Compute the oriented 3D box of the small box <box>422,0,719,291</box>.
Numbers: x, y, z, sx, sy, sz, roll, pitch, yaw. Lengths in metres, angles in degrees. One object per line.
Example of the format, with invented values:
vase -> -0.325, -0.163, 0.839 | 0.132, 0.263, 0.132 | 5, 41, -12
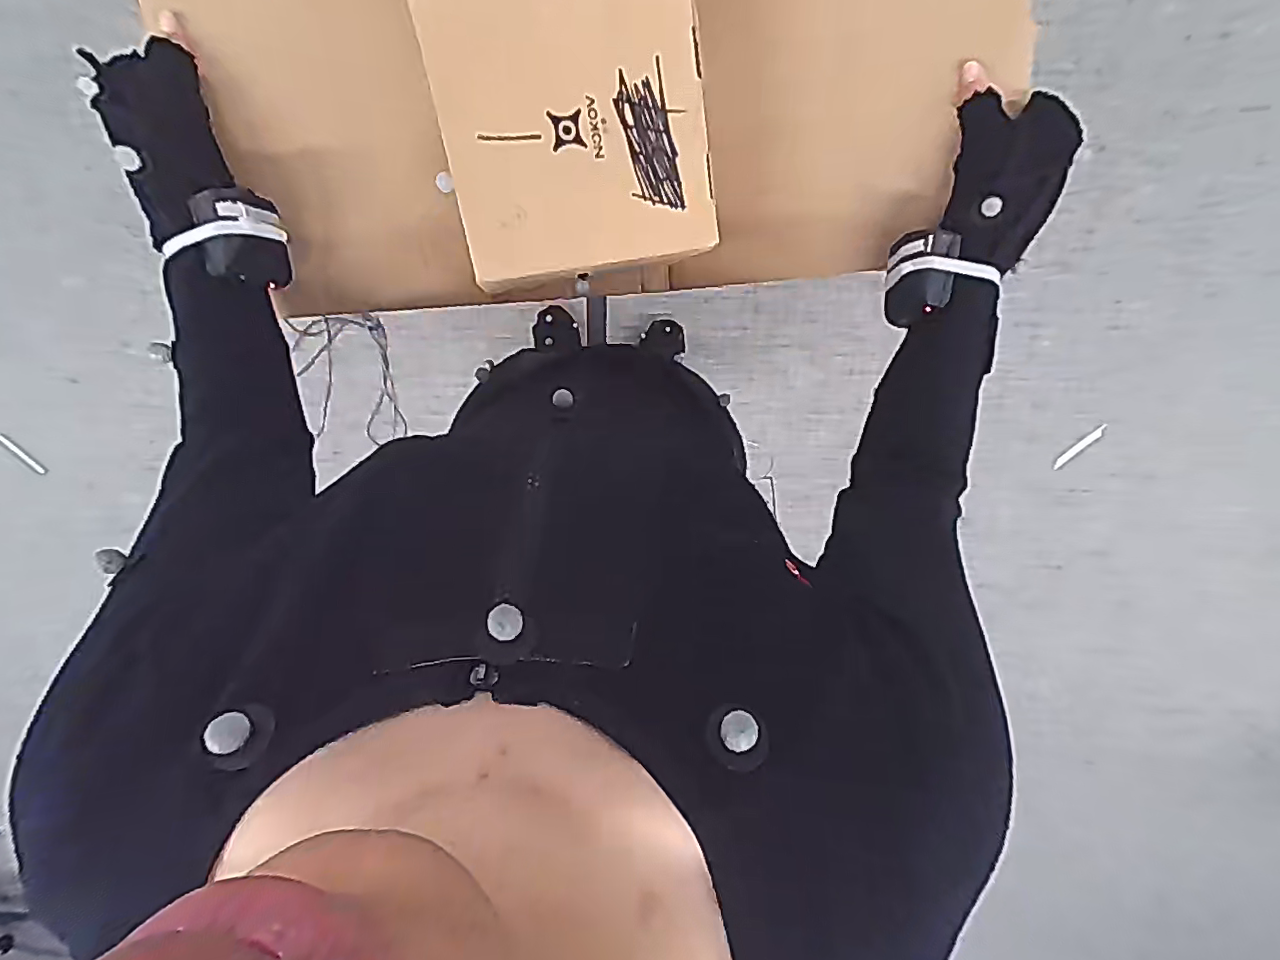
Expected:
small box -> -0.053, -0.251, 0.433 | 0.179, 0.176, 0.168 | -12, 108, -9
